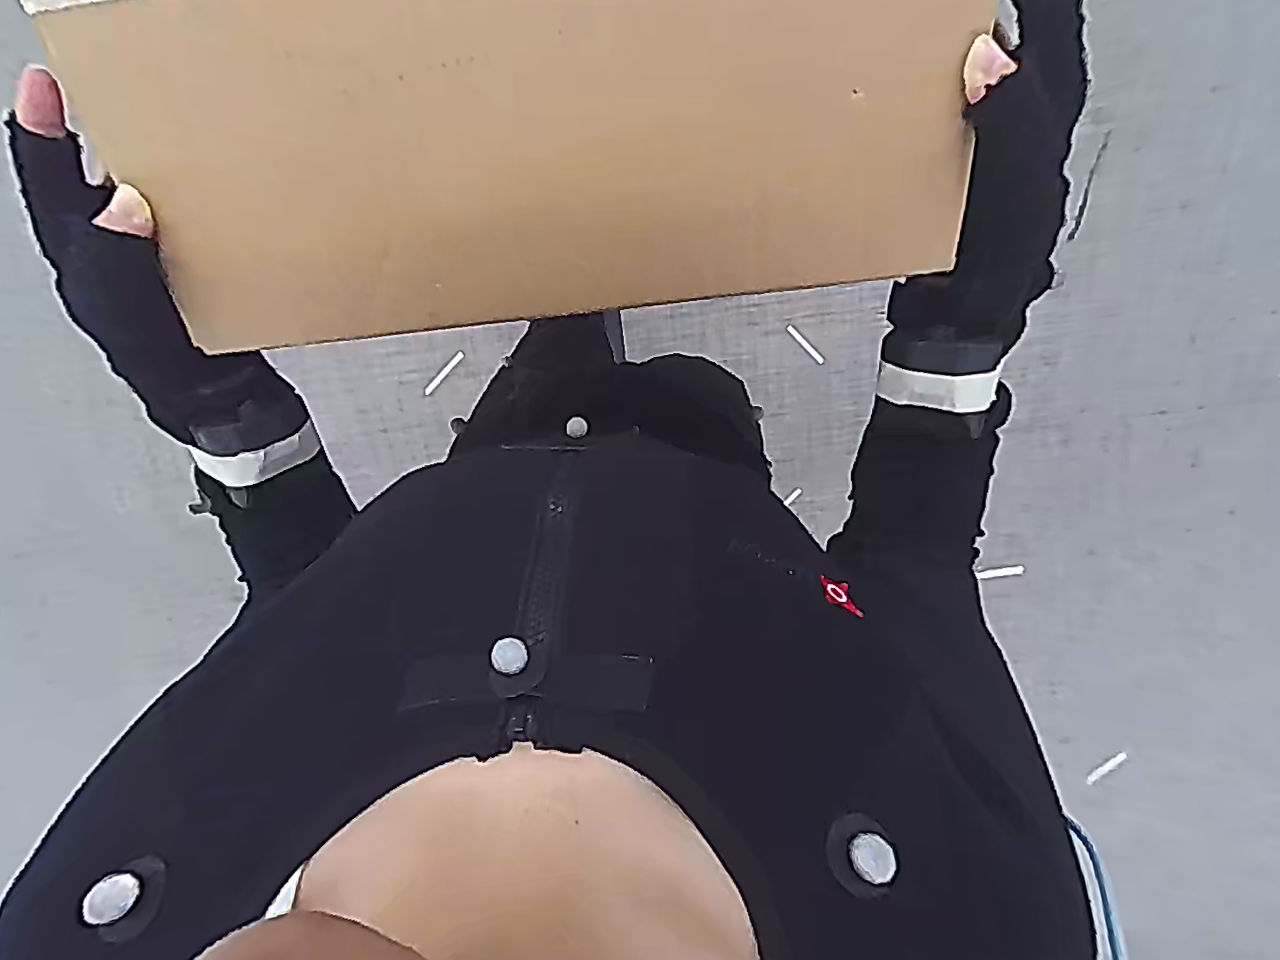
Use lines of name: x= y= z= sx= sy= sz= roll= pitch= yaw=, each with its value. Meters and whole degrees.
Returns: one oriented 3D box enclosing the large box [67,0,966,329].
large box: x=-0.059 y=-0.310 z=0.357 sx=0.408 sy=0.320 sz=0.320 roll=-6 pitch=119 yaw=3
